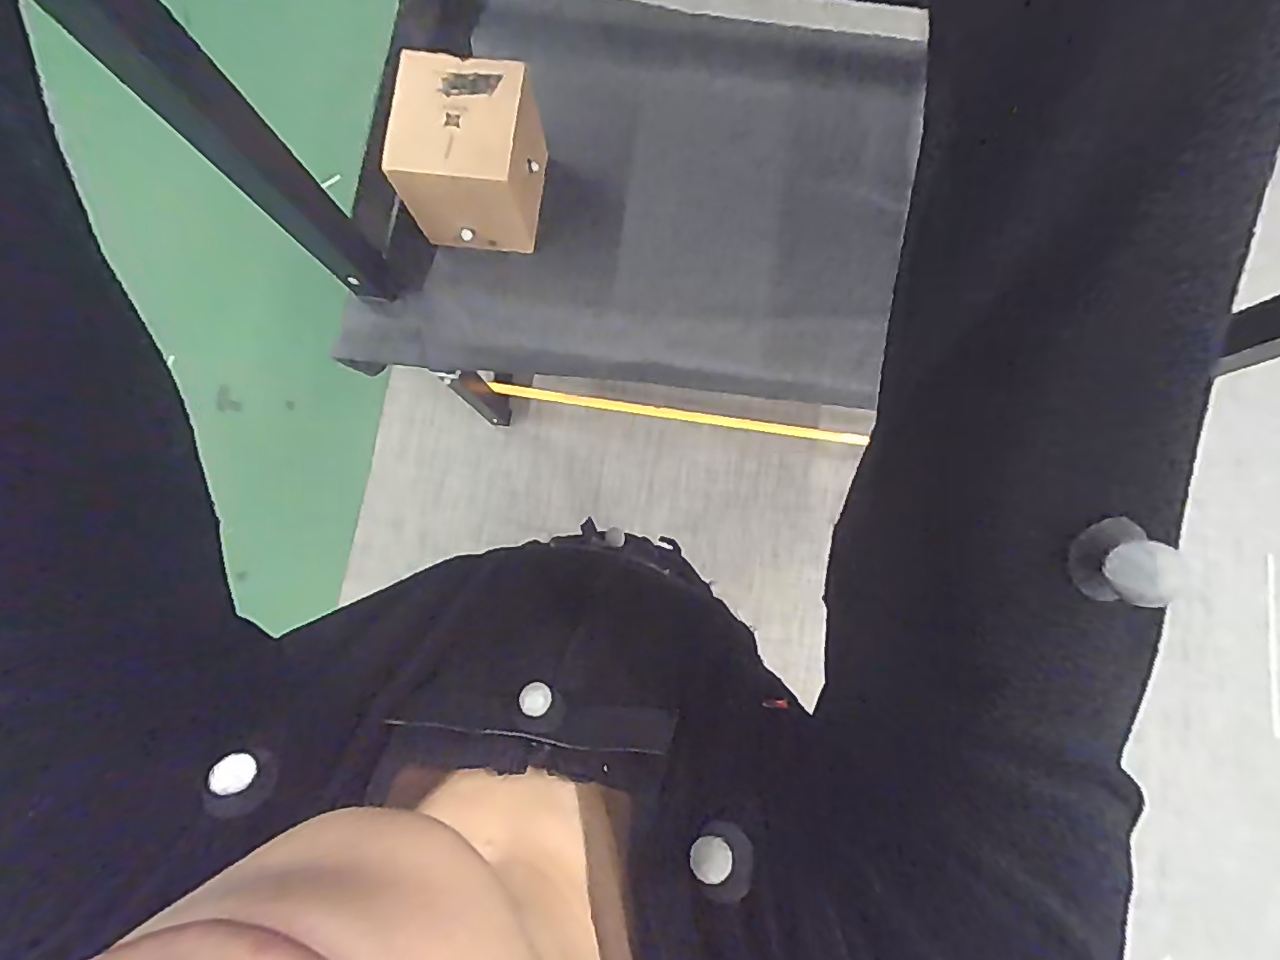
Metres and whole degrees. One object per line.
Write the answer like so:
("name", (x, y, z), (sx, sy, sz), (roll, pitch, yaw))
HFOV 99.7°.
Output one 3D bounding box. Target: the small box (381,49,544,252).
("small box", (-0.238, -0.458, 0.772), (0.168, 0.176, 0.179), (6, 82, 1))
